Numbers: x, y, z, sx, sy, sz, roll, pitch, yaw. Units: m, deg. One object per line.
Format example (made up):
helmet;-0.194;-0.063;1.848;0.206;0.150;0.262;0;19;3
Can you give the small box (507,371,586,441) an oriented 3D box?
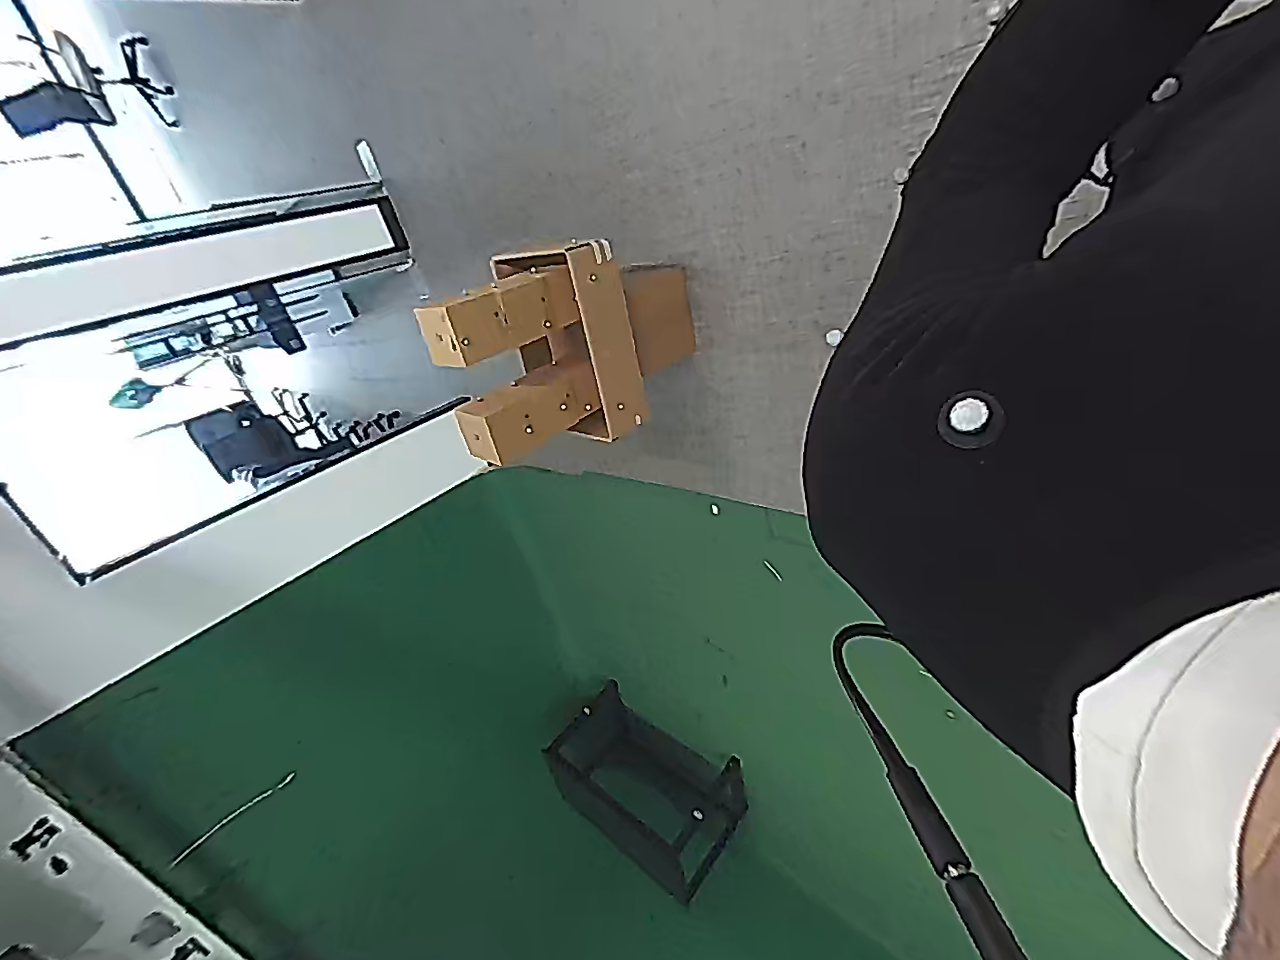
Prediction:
small box;-0.306;-0.250;1.792;0.179;0.176;0.168;18;132;39

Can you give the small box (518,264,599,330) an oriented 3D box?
small box;-0.259;-0.593;1.745;0.179;0.176;0.168;15;129;40

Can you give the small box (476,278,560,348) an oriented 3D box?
small box;-0.362;-0.512;1.645;0.179;0.176;0.168;17;130;40

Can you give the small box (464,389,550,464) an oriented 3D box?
small box;-0.413;-0.174;1.696;0.179;0.176;0.168;17;131;40

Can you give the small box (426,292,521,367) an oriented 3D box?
small box;-0.474;-0.436;1.552;0.179;0.176;0.168;14;128;42
